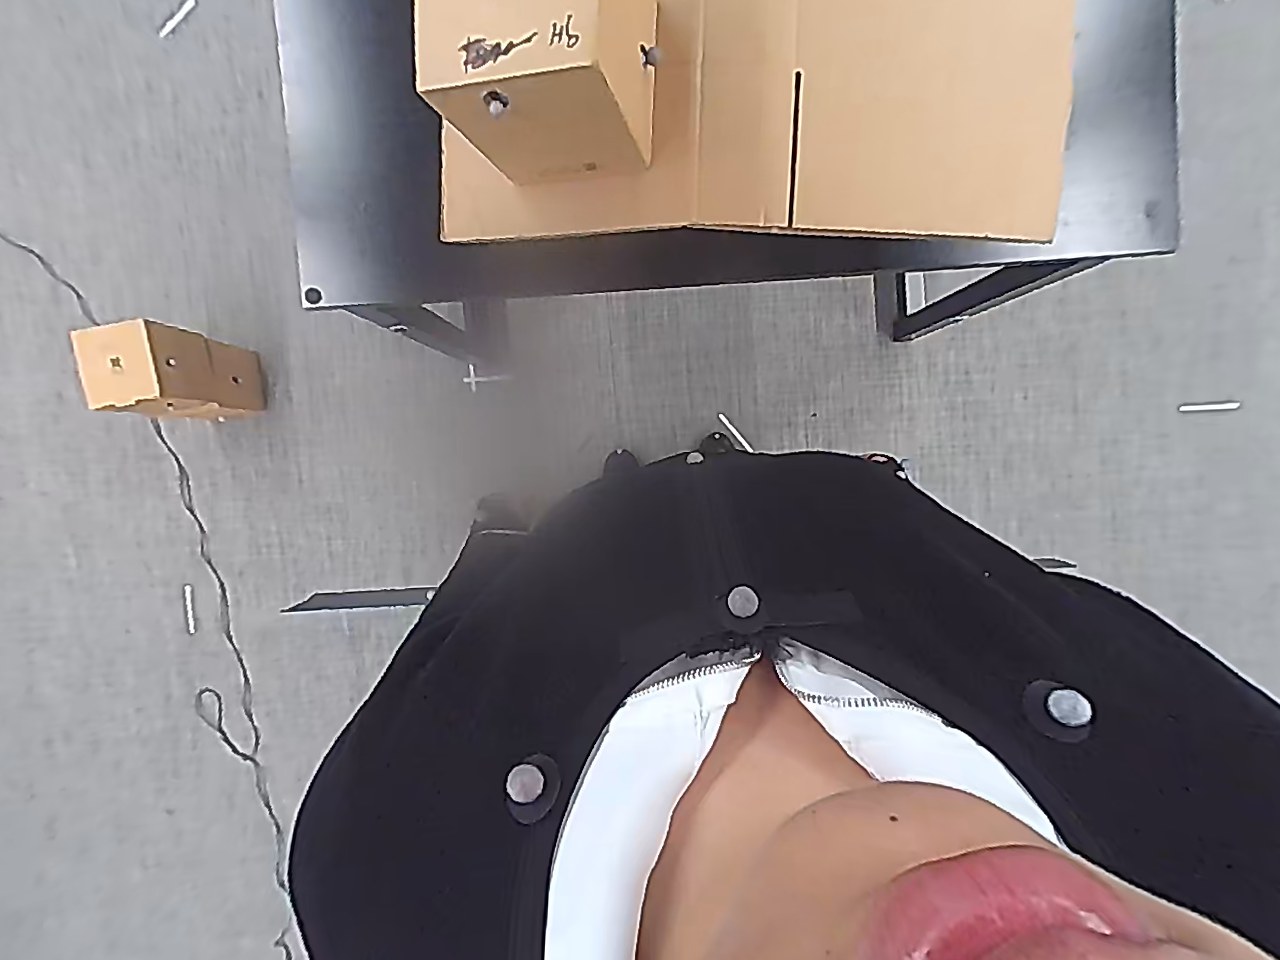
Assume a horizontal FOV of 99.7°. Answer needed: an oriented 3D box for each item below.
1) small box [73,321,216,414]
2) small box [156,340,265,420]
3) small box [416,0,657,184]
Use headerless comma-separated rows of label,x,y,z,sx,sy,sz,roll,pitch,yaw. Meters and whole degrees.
small box,-1.136,-0.253,1.257,0.168,0.176,0.179,-10,92,1
small box,-1.132,-0.257,1.420,0.168,0.176,0.179,-7,94,2
small box,-0.084,-0.412,0.507,0.168,0.176,0.179,3,93,16
